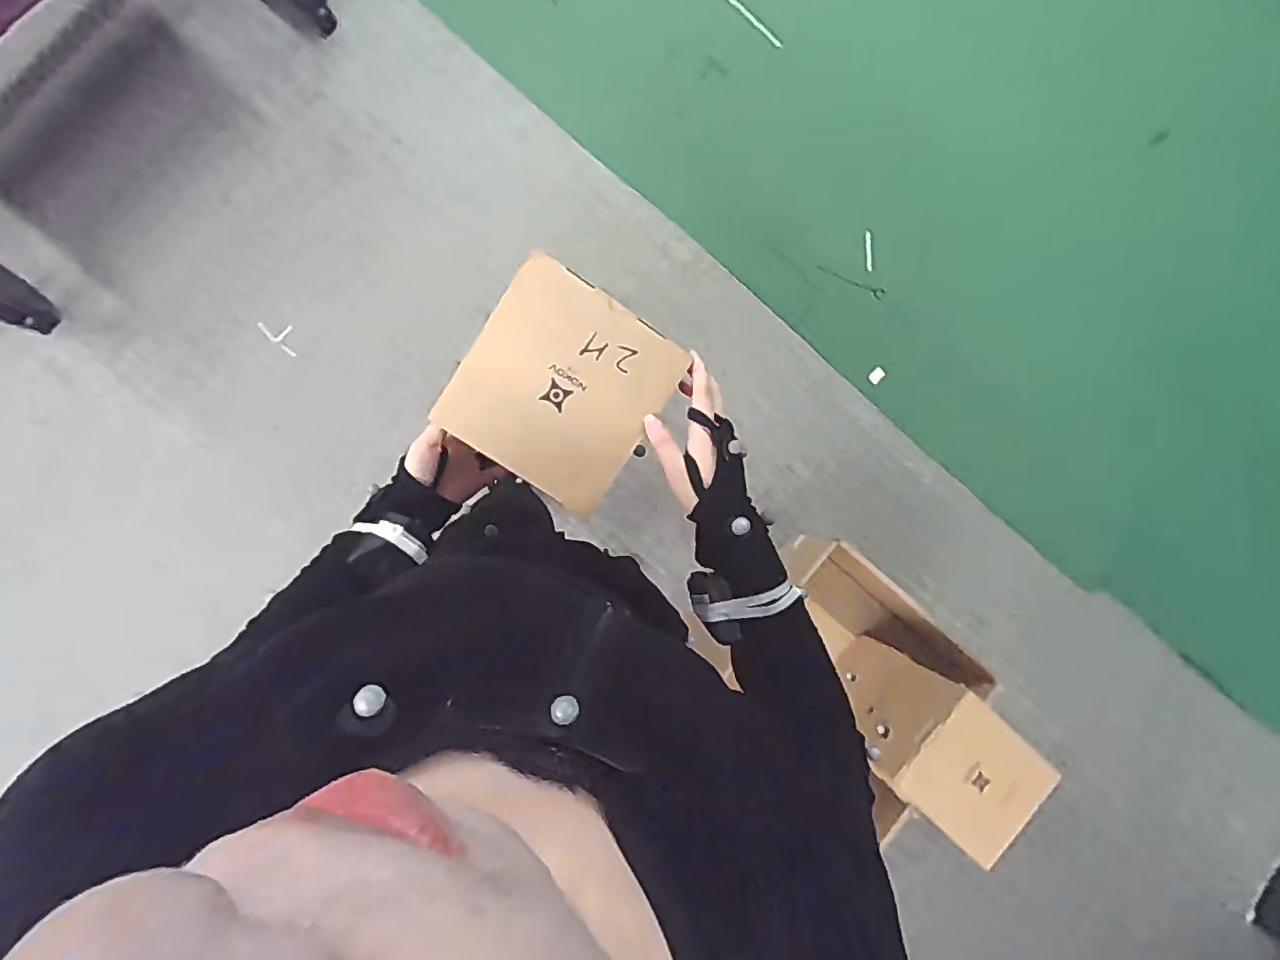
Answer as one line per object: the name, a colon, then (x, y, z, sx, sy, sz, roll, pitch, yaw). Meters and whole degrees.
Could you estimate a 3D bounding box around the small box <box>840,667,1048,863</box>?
small box: (0.440, 0.407, 0.816, 0.179, 0.176, 0.168, 44, 85, -2)
